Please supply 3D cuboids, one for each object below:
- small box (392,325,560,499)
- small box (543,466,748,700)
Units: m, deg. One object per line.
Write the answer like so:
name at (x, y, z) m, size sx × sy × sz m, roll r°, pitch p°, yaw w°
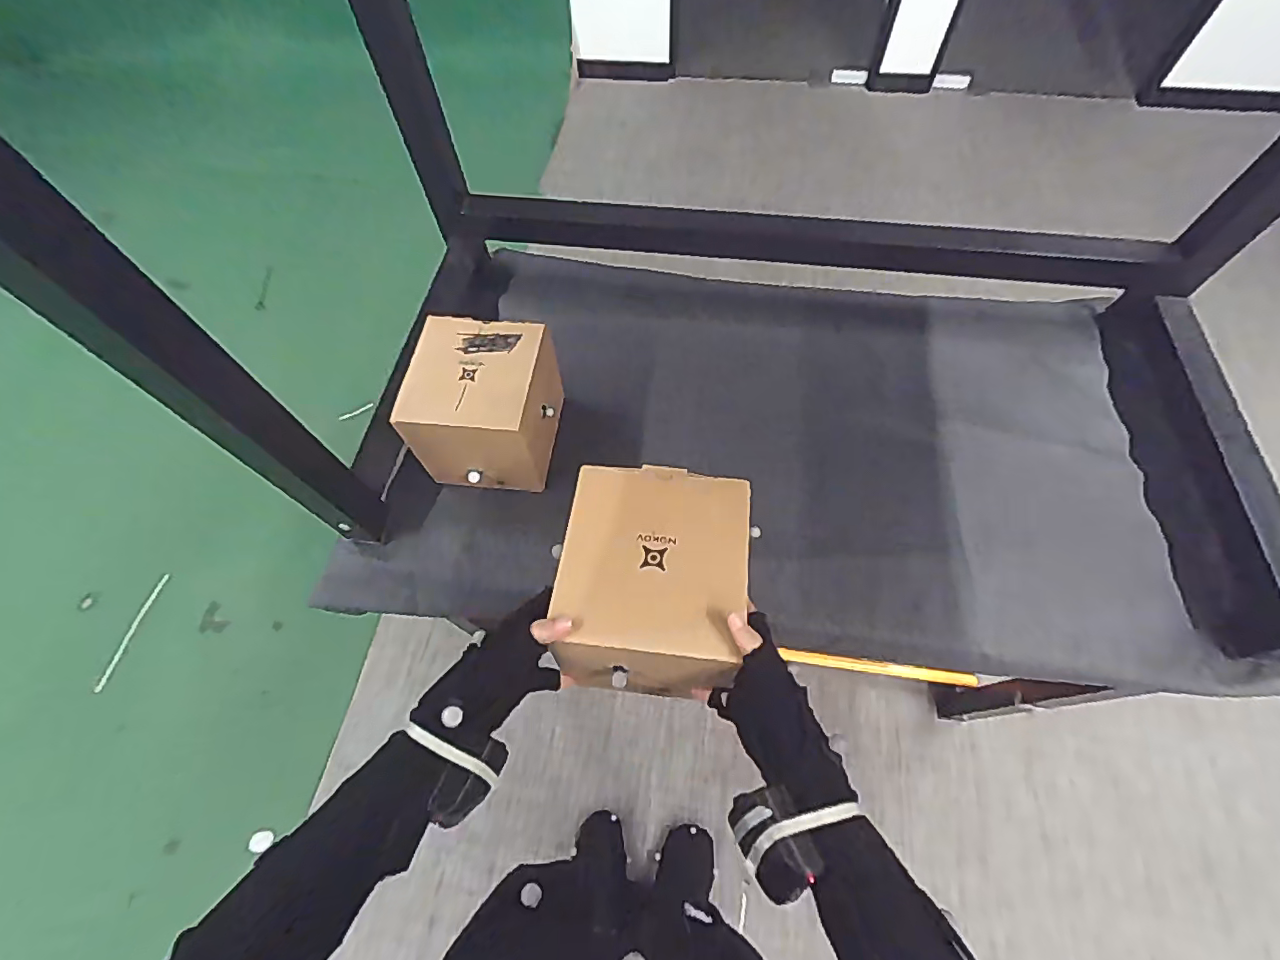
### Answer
small box at (-0.214, -0.093, 0.768) m, size 0.168 × 0.176 × 0.179 m, roll 4°, pitch 61°, yaw 4°
small box at (0.014, 0.109, 0.543) m, size 0.168 × 0.176 × 0.179 m, roll 5°, pitch 55°, yaw 5°
